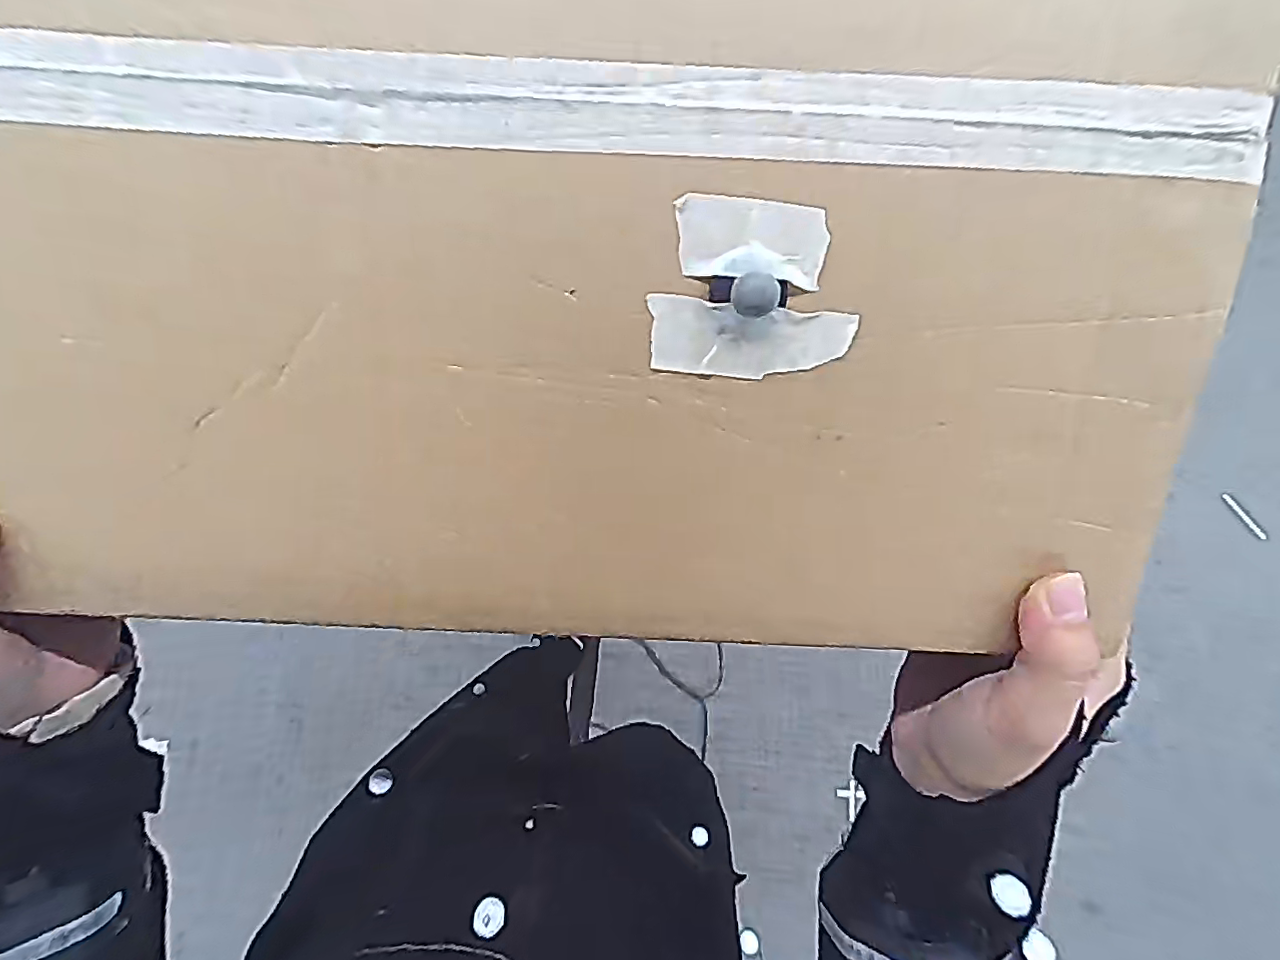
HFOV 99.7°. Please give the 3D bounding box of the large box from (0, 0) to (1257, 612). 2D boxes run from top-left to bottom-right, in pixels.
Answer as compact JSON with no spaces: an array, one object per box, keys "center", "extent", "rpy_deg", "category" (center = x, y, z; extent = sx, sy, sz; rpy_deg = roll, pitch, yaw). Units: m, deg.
[{"center":[-0.031,-0.138,0.304],"extent":[0.408,0.320,0.320],"rpy_deg":[2,104,-2],"category":"large box"}]
